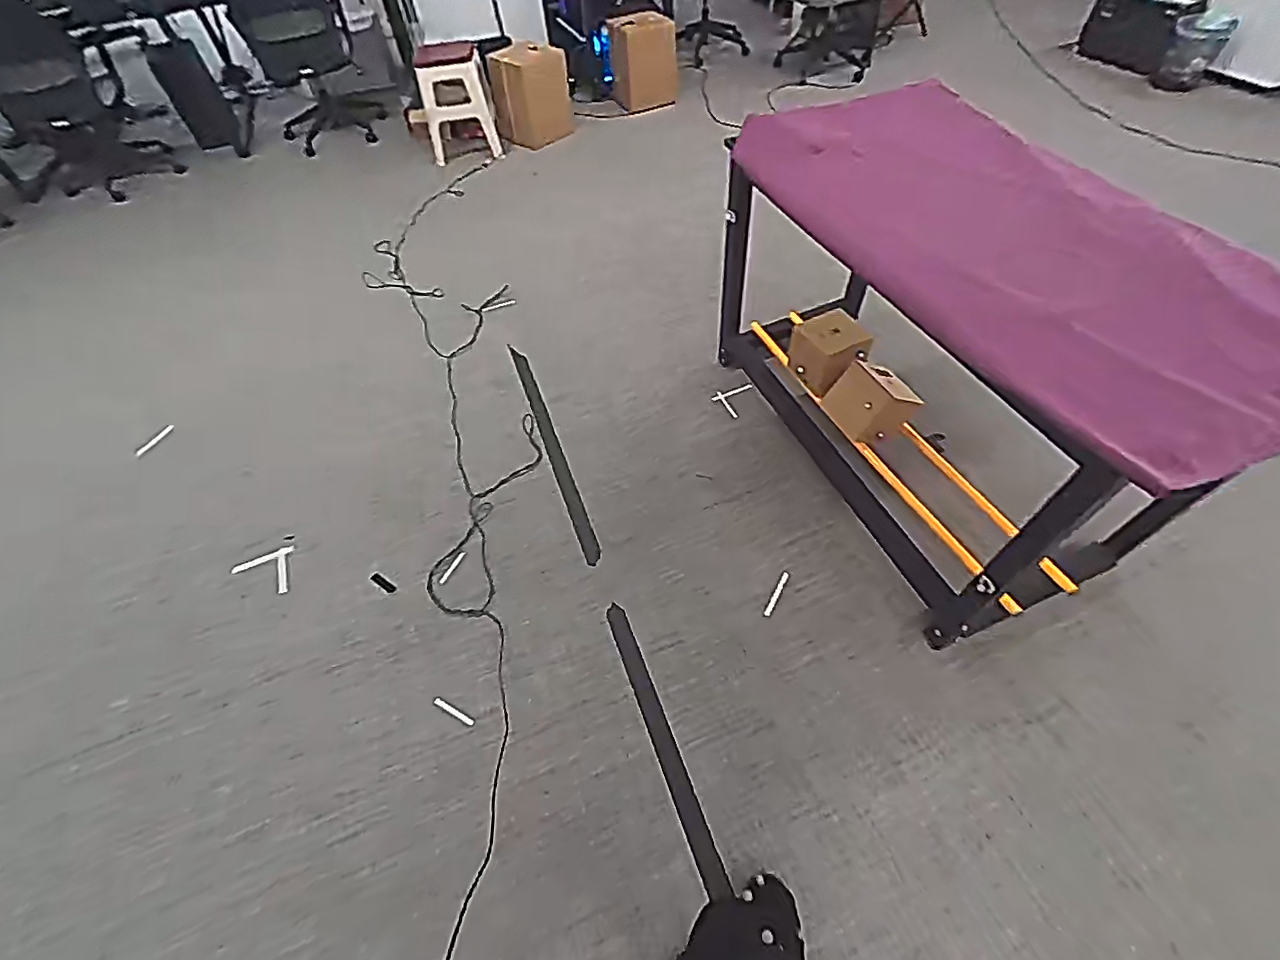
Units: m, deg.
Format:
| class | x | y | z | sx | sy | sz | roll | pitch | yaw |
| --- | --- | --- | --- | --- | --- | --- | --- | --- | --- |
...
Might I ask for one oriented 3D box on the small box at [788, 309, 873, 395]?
| class | x | y | z | sx | sy | sz | roll | pitch | yaw |
| --- | --- | --- | --- | --- | --- | --- | --- | --- | --- |
| small box | 0.586 | -0.397 | 1.687 | 0.179 | 0.176 | 0.168 | -23 | 55 | -11 |
